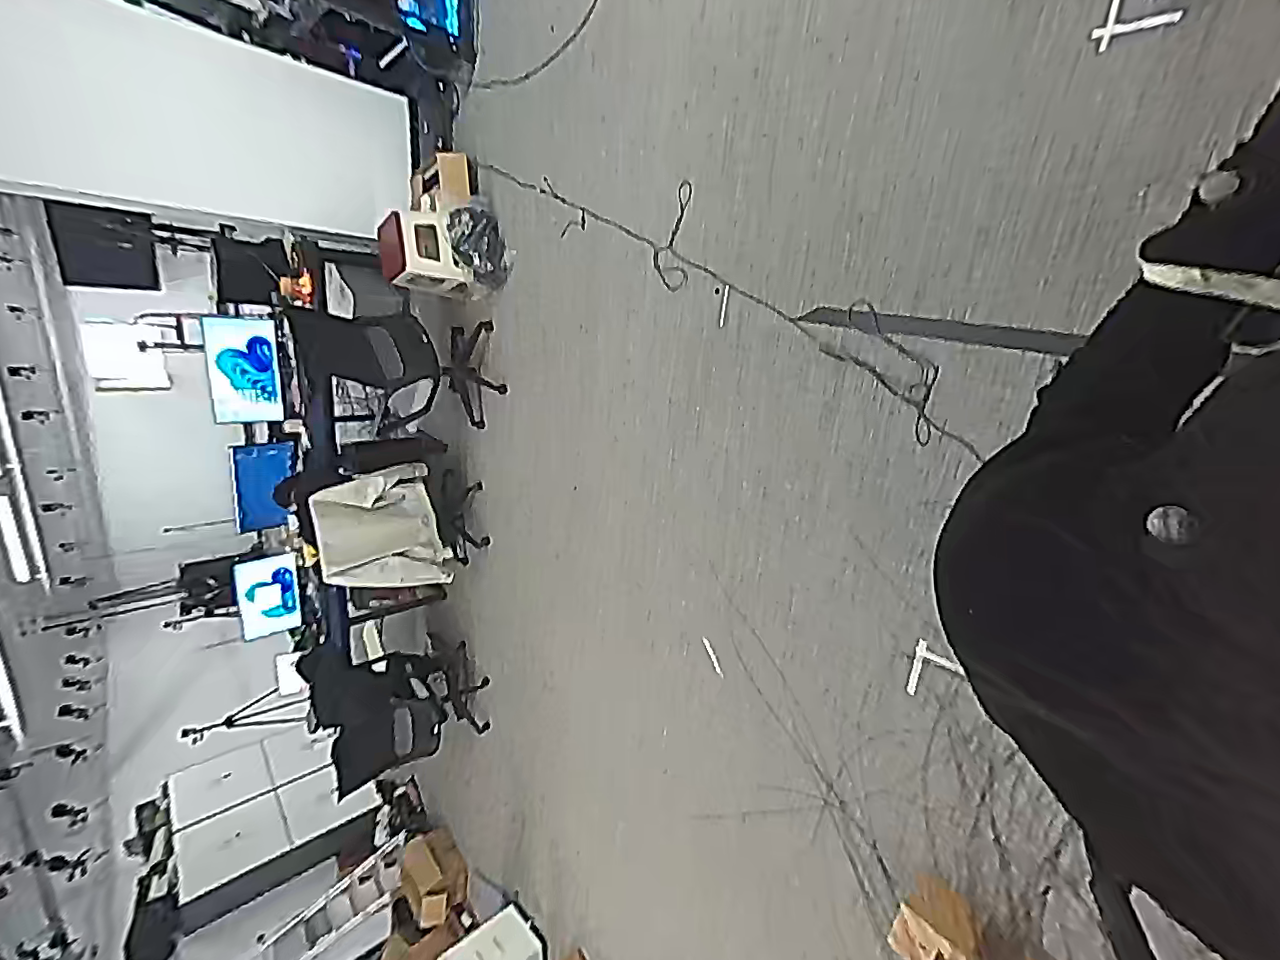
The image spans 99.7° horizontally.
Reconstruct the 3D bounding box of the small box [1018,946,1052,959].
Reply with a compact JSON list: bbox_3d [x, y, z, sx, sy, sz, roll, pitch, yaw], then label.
[{"bbox_3d":[1.010,1.335,1.344,0.168,0.176,0.179,27,117,41],"label":"small box"}]
